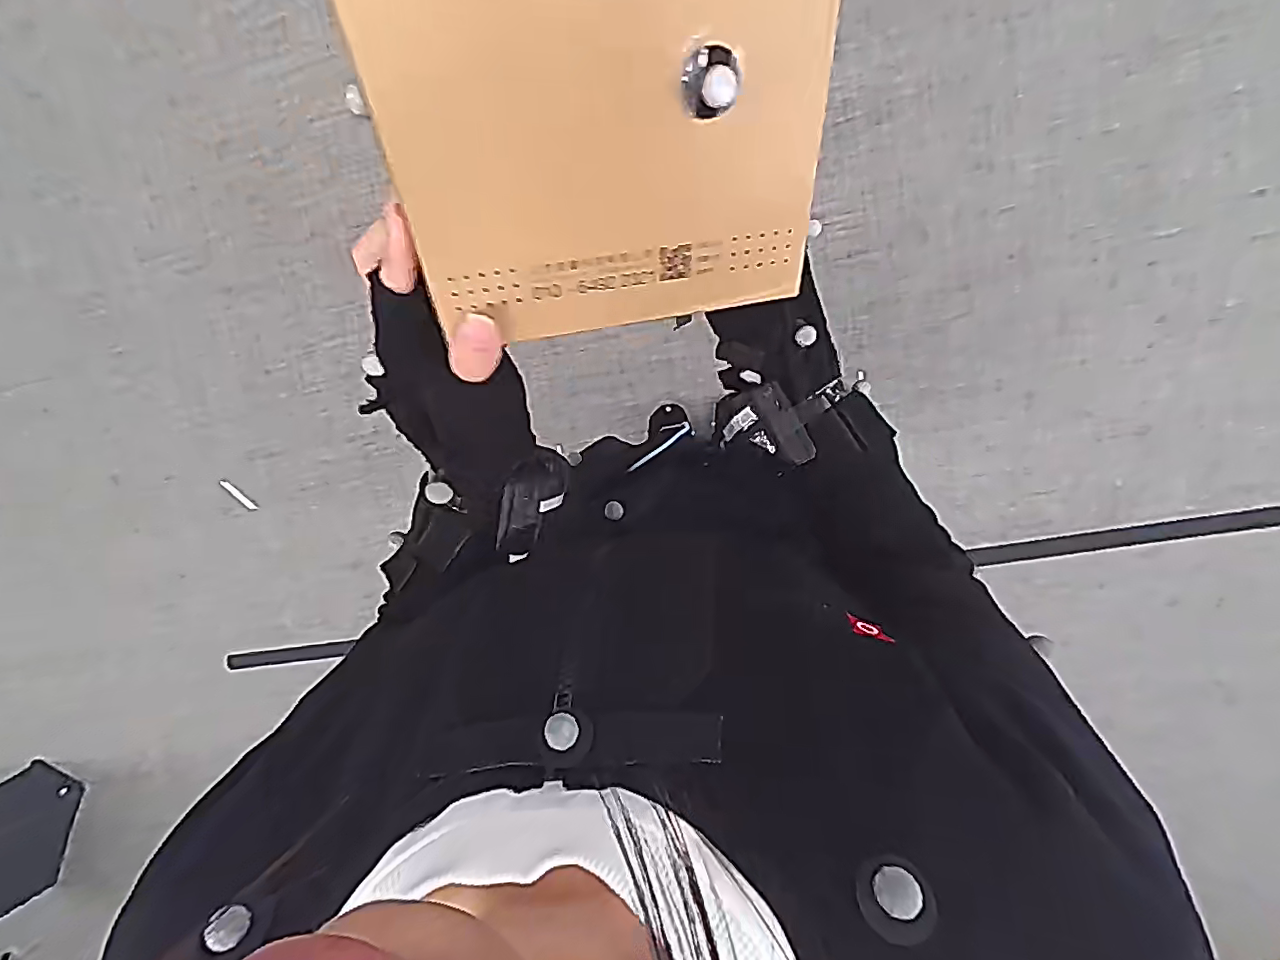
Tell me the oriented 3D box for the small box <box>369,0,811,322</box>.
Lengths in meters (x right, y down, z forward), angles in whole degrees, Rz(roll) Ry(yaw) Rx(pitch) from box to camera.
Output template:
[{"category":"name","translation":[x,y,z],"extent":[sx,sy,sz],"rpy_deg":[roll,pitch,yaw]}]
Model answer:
[{"category":"small box","translation":[-0.025,-0.192,0.276],"extent":[0.168,0.179,0.176],"rpy_deg":[-12,133,-8]}]
